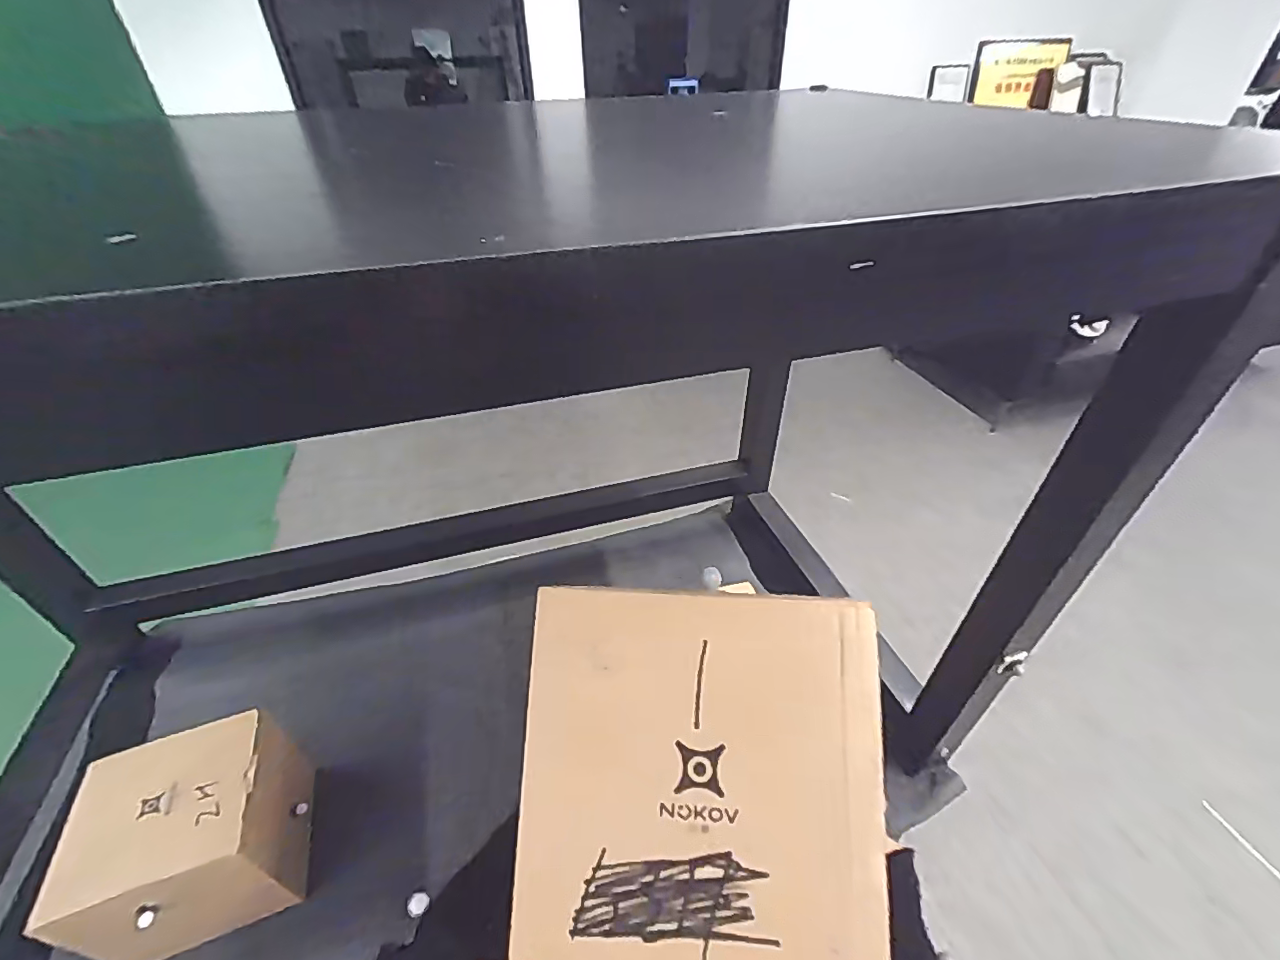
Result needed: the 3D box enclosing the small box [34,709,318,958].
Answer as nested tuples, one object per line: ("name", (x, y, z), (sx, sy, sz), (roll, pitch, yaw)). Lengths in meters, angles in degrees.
("small box", (-0.509, 0.410, 0.631), (0.179, 0.176, 0.168), (-14, 41, -16))
